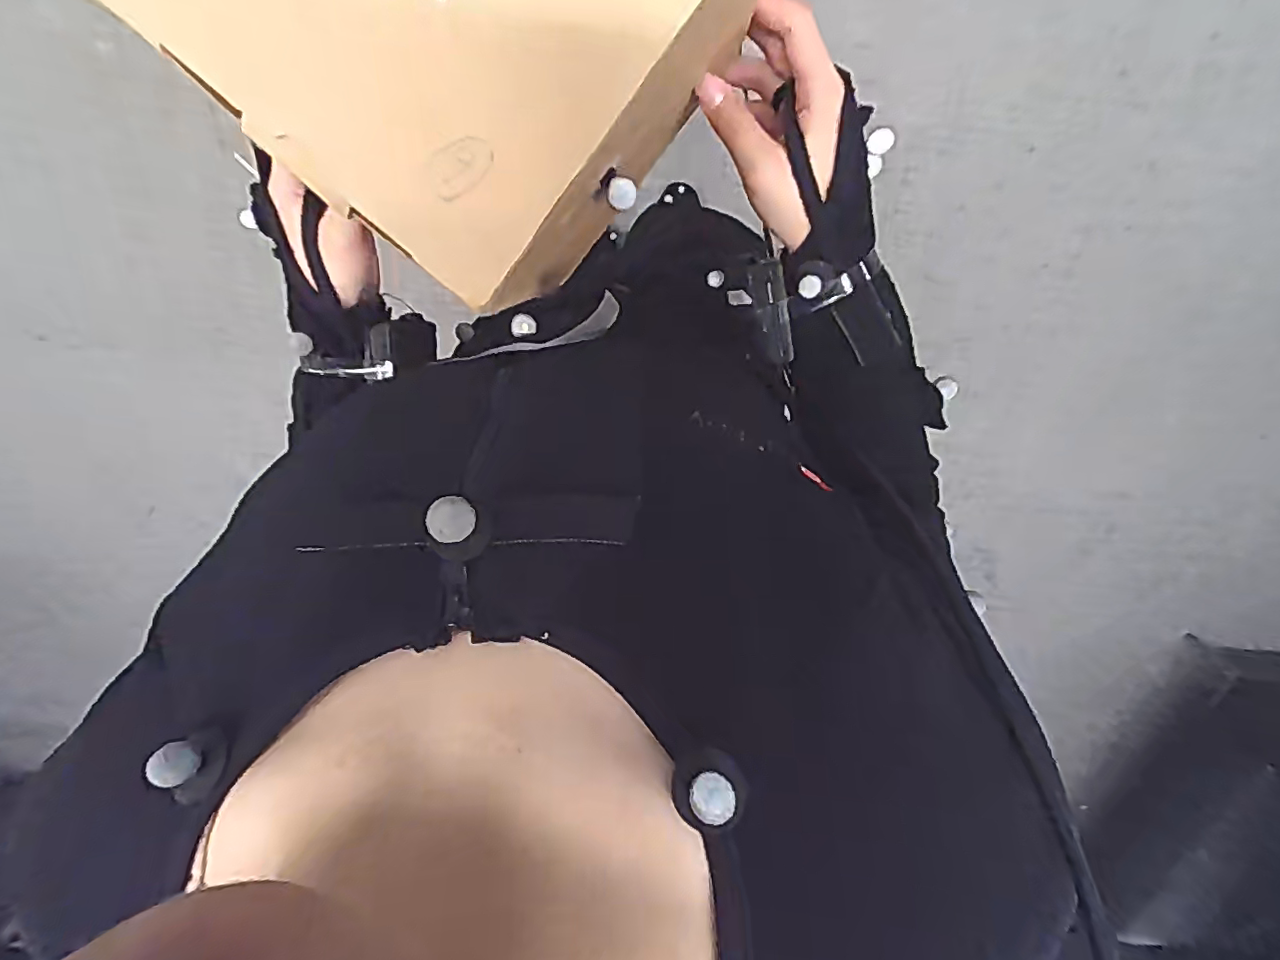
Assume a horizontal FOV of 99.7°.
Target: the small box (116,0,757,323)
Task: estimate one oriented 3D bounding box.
[{"bbox_3d":[-0.059,-0.200,0.247,0.168,0.176,0.179,40,109,-12],"label":"small box"}]
